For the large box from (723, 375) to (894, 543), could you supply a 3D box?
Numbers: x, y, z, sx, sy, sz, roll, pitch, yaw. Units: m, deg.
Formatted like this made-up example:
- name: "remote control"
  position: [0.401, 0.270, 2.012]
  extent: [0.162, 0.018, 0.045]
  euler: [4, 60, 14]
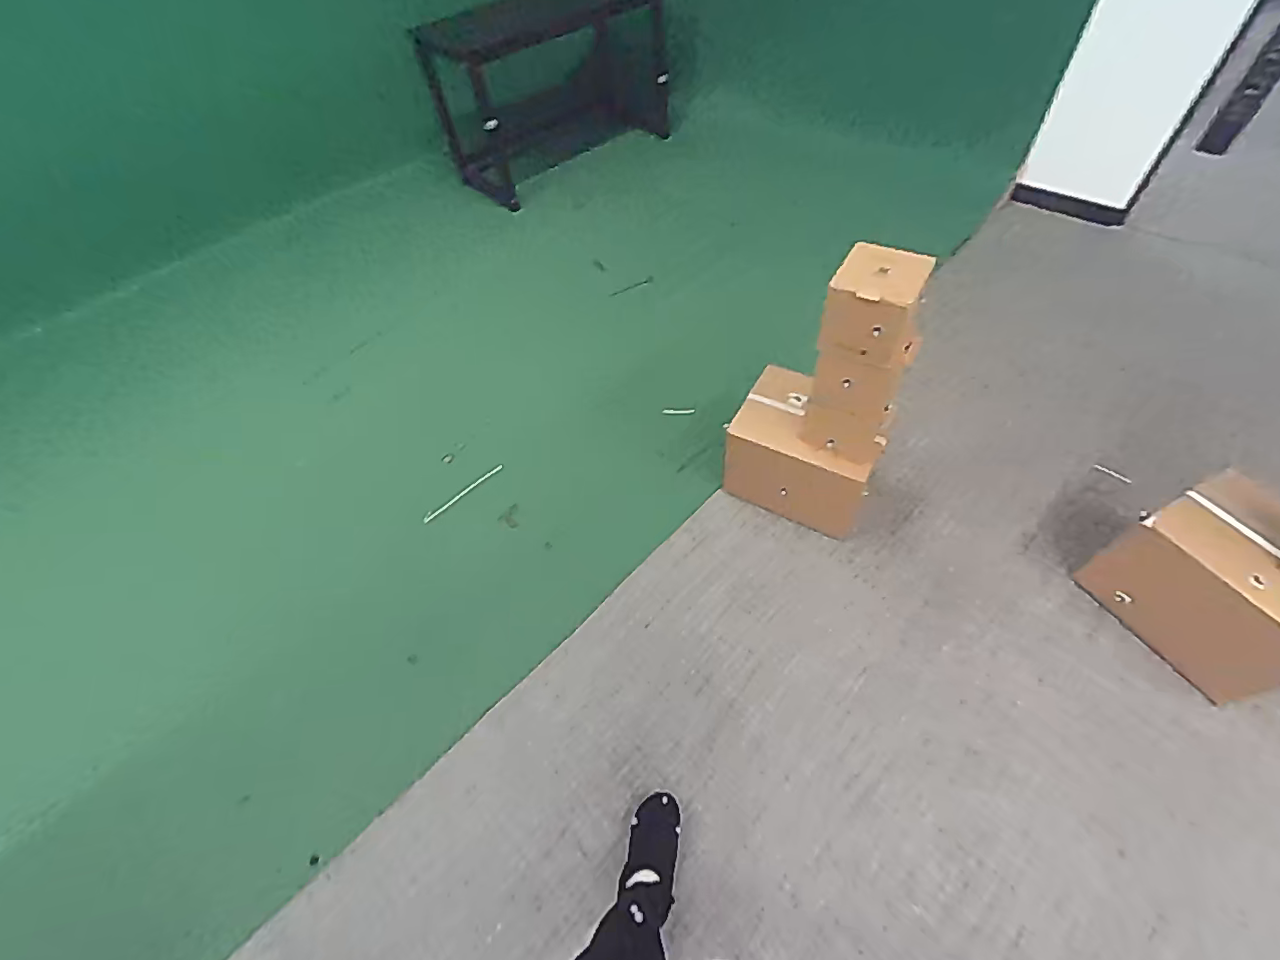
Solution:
- name: "large box"
  position: [0.503, -0.065, 1.664]
  extent: [0.408, 0.320, 0.320]
  euler: [22, 58, 23]

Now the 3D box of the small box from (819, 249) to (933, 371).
- name: "small box"
  position: [0.501, -0.366, 1.172]
  extent: [0.168, 0.176, 0.179]
  euler: [24, 60, 23]

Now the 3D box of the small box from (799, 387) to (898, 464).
- name: "small box"
  position: [0.543, -0.167, 1.429]
  extent: [0.179, 0.176, 0.168]
  euler: [27, 61, 24]

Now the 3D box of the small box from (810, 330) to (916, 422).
- name: "small box"
  position: [0.528, -0.264, 1.297]
  extent: [0.179, 0.176, 0.168]
  euler: [23, 59, 23]
